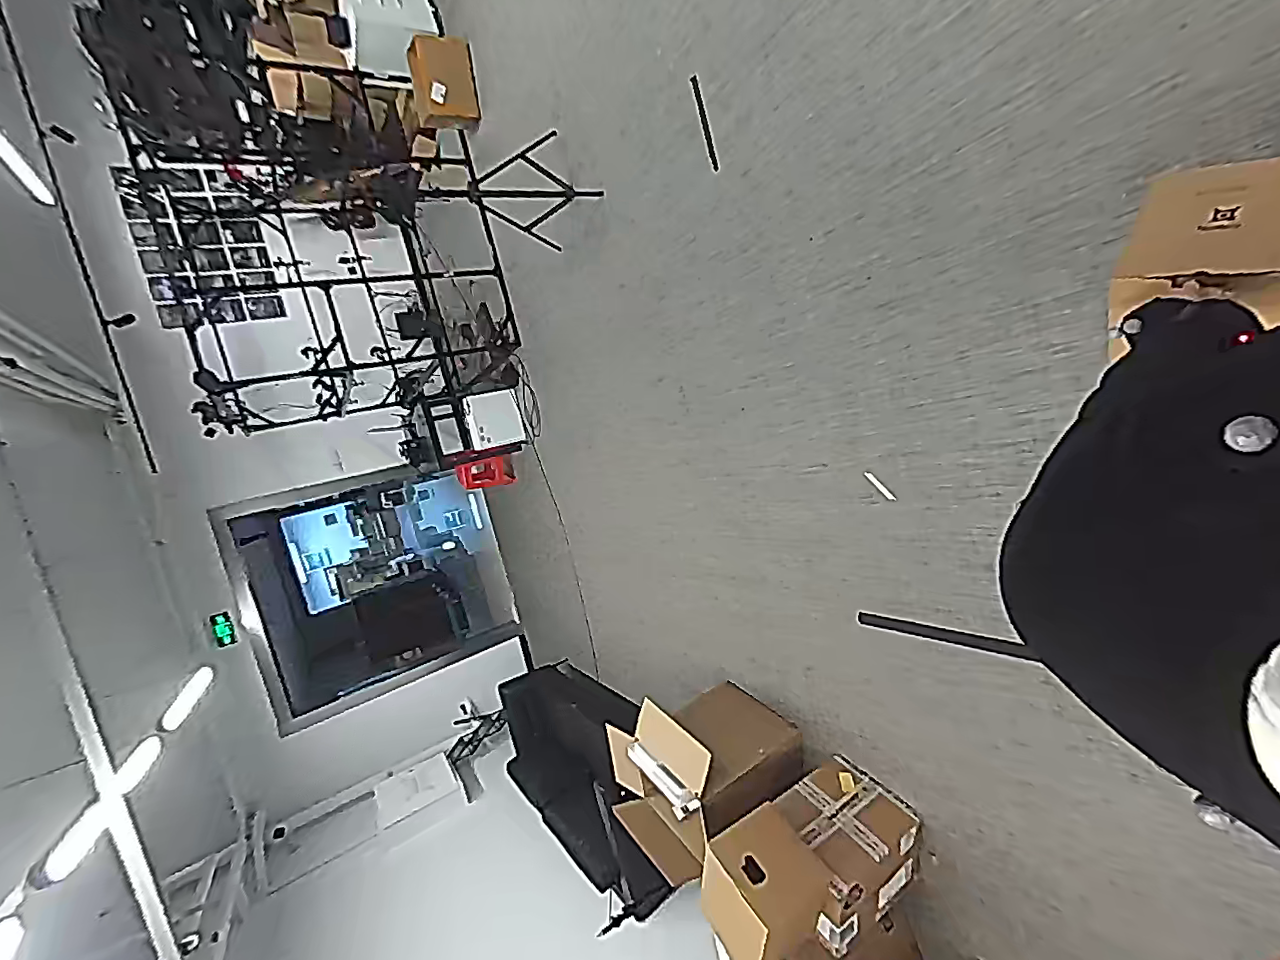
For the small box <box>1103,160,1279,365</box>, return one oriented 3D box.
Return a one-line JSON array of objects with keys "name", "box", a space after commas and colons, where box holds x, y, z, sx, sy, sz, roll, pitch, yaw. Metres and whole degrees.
[{"name": "small box", "box": [0.725, -0.267, 0.690, 0.168, 0.179, 0.176, 19, 165, 45]}]
